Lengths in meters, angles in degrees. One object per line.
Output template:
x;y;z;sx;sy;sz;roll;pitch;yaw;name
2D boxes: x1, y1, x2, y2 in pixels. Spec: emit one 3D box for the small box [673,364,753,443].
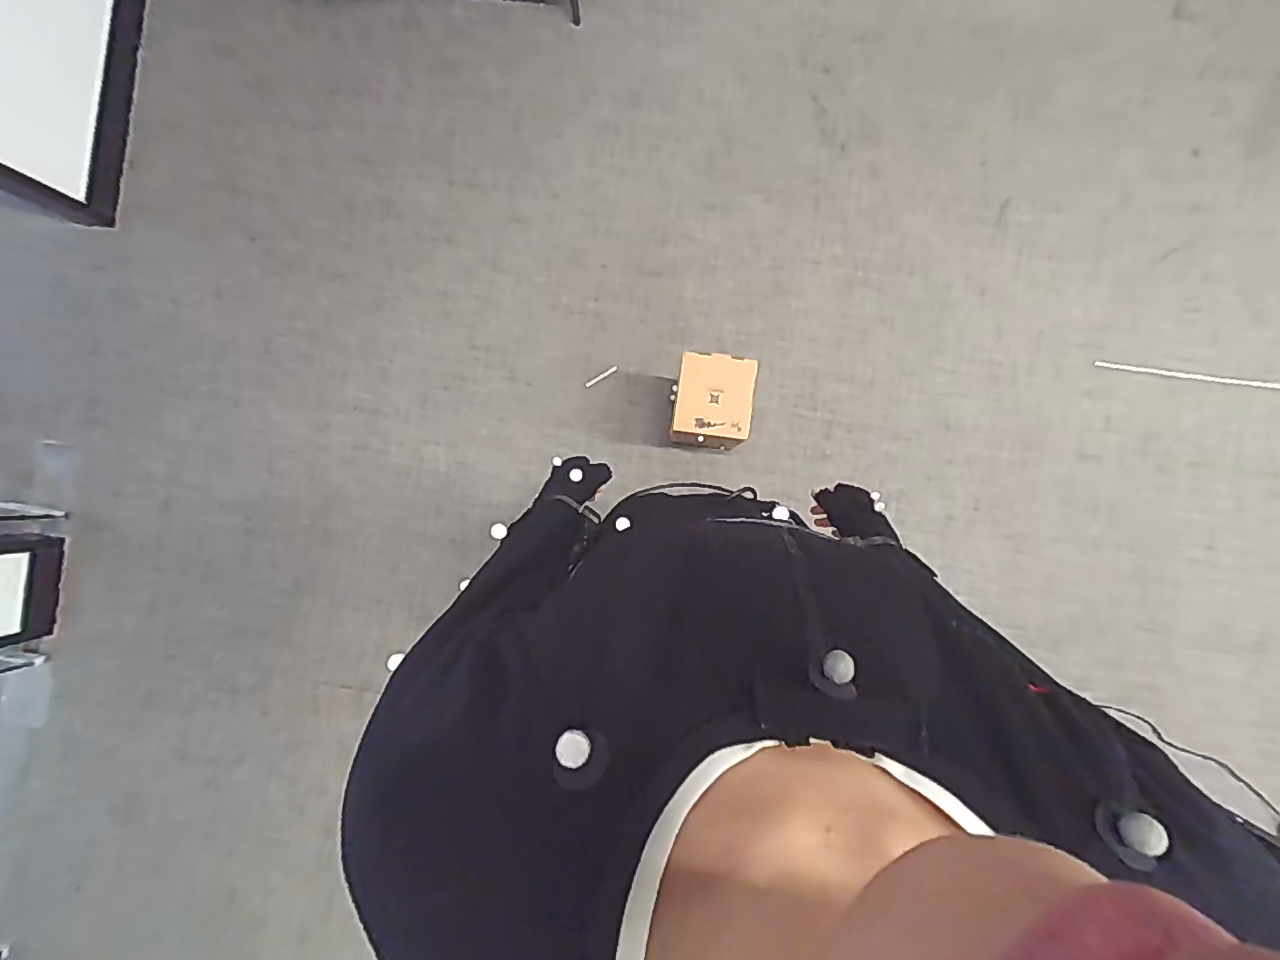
0.182;-0.191;1.403;0.179;0.176;0.168;9;90;3;small box
